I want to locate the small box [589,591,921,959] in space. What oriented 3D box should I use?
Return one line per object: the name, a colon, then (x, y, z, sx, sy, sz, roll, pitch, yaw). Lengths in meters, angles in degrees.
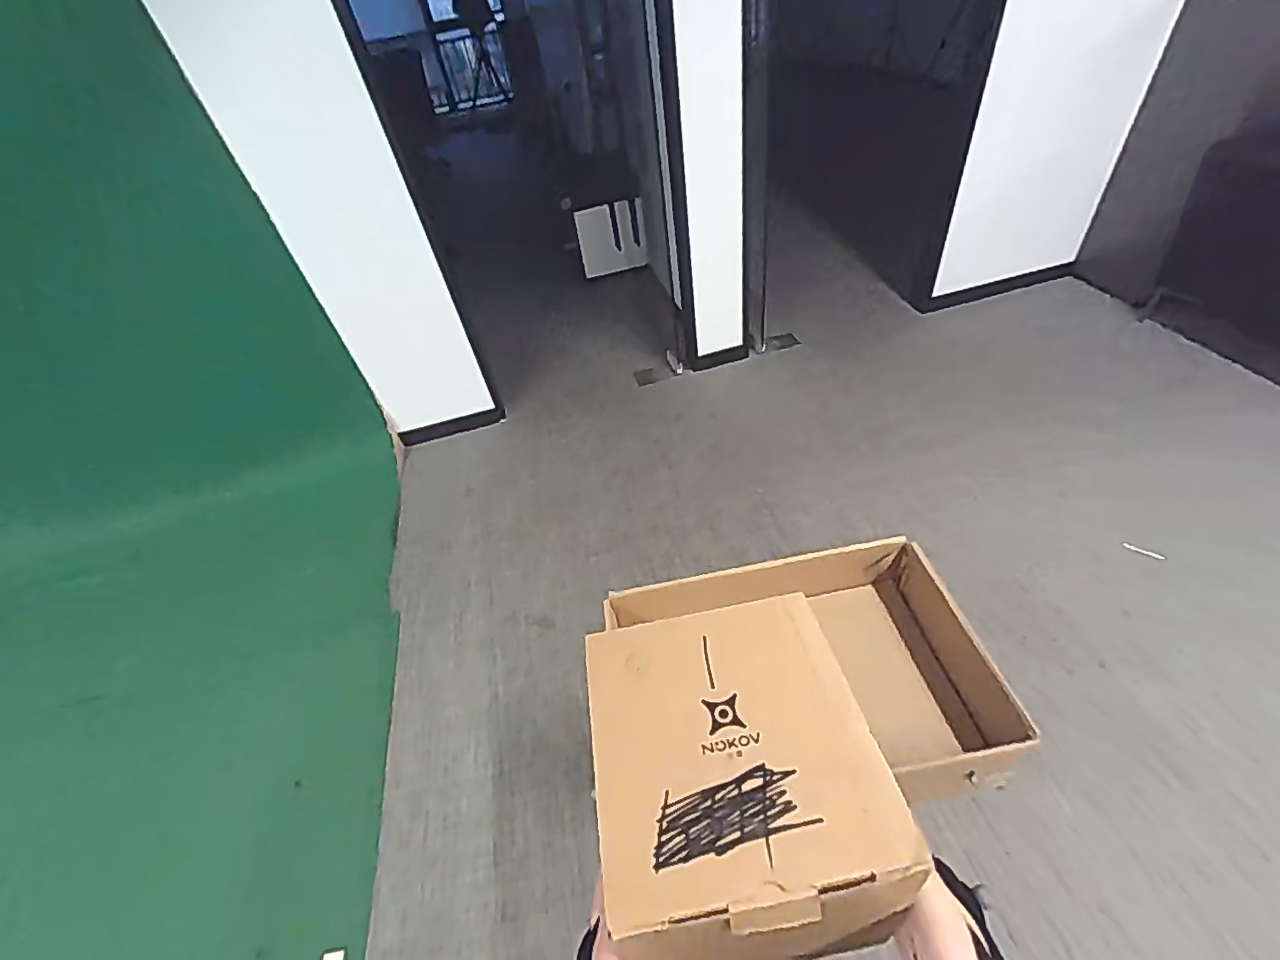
small box: (0.064, 0.212, 0.384, 0.168, 0.176, 0.179, -11, 38, -2)
